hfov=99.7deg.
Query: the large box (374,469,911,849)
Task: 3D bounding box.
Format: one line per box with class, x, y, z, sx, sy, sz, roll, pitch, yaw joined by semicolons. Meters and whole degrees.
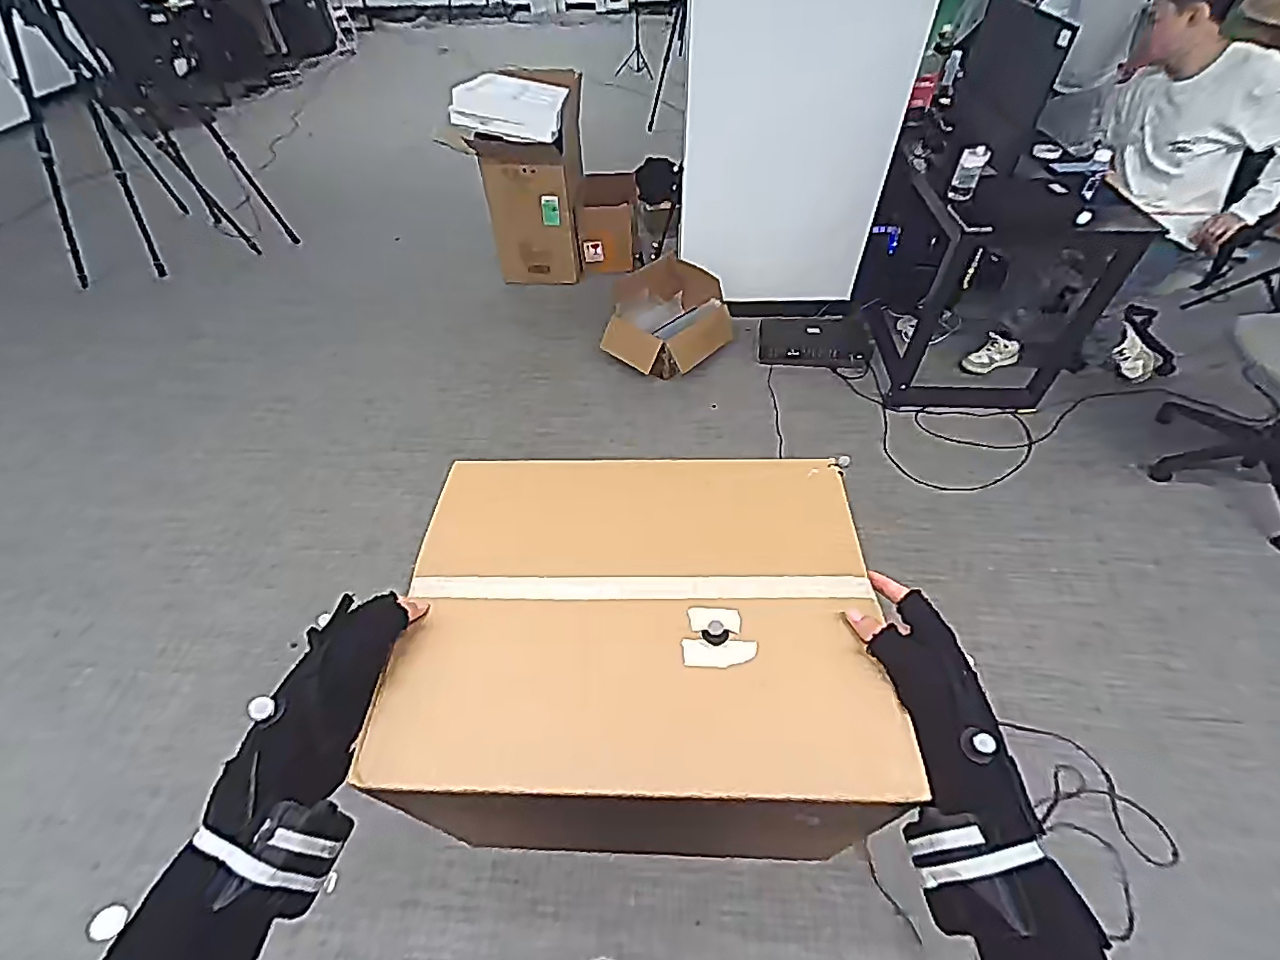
large box;0.005;0.203;0.601;0.408;0.320;0.320;0;49;3
